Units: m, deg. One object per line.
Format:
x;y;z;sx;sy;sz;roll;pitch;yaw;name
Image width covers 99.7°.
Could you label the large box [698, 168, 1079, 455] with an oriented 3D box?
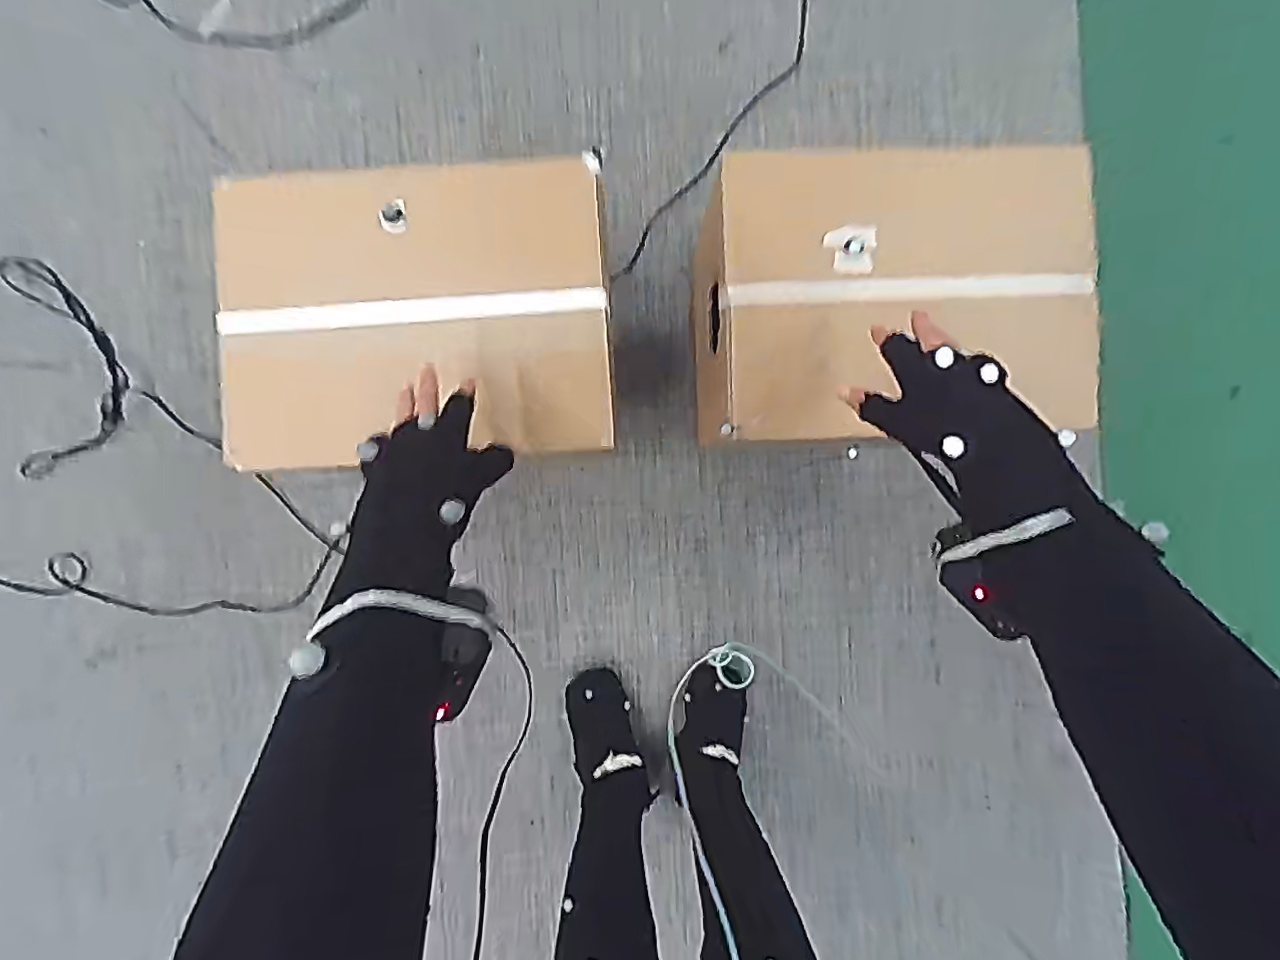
0.301;-0.198;0.764;0.408;0.320;0.320;-1;90;0;large box
